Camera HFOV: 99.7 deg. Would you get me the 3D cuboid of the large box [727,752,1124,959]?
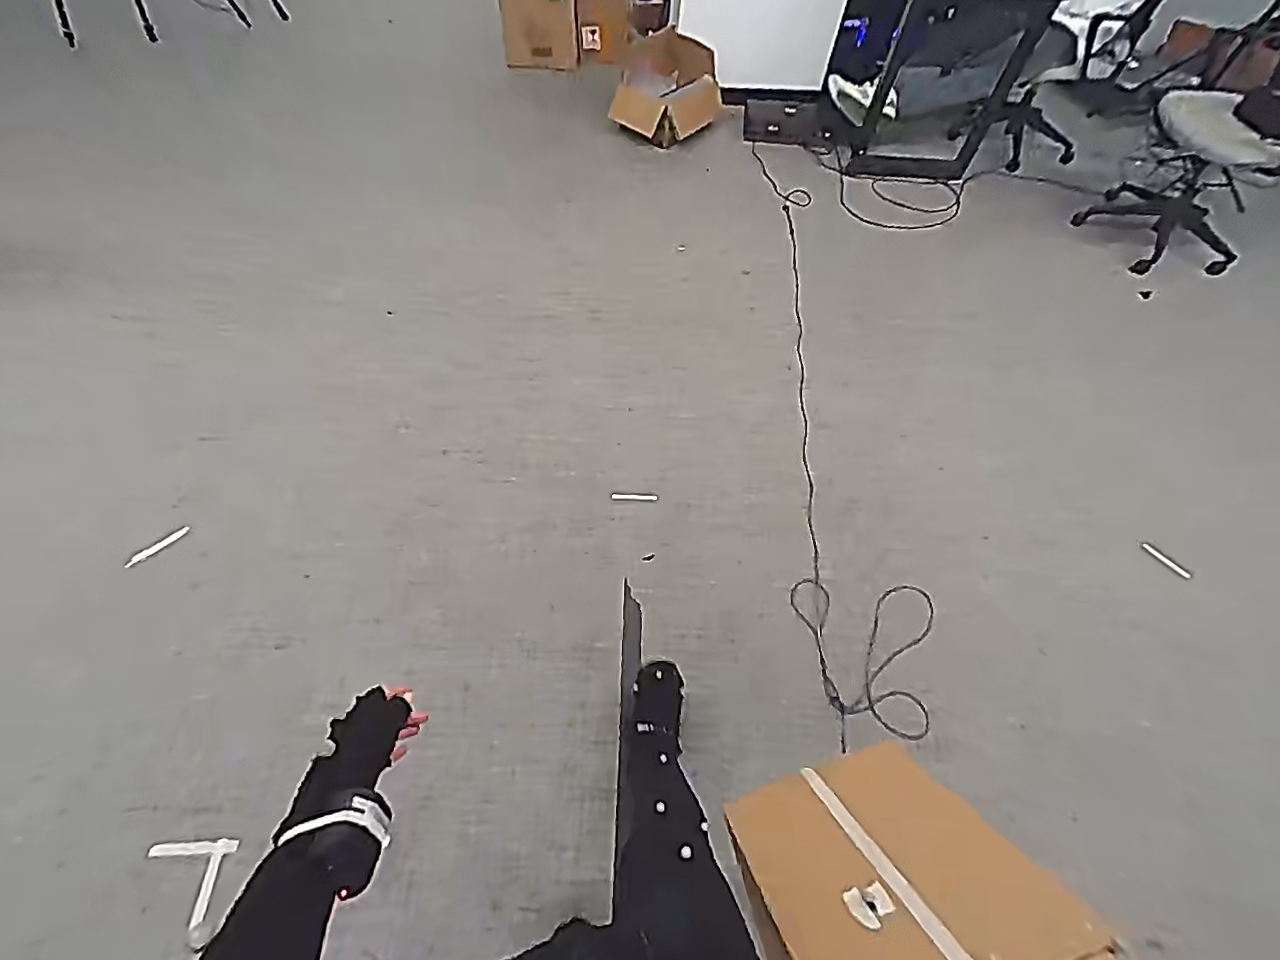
[{"bbox_3d":[0.354,0.659,0.732,0.320,0.408,0.320,-16,94,-8],"label":"large box"}]
